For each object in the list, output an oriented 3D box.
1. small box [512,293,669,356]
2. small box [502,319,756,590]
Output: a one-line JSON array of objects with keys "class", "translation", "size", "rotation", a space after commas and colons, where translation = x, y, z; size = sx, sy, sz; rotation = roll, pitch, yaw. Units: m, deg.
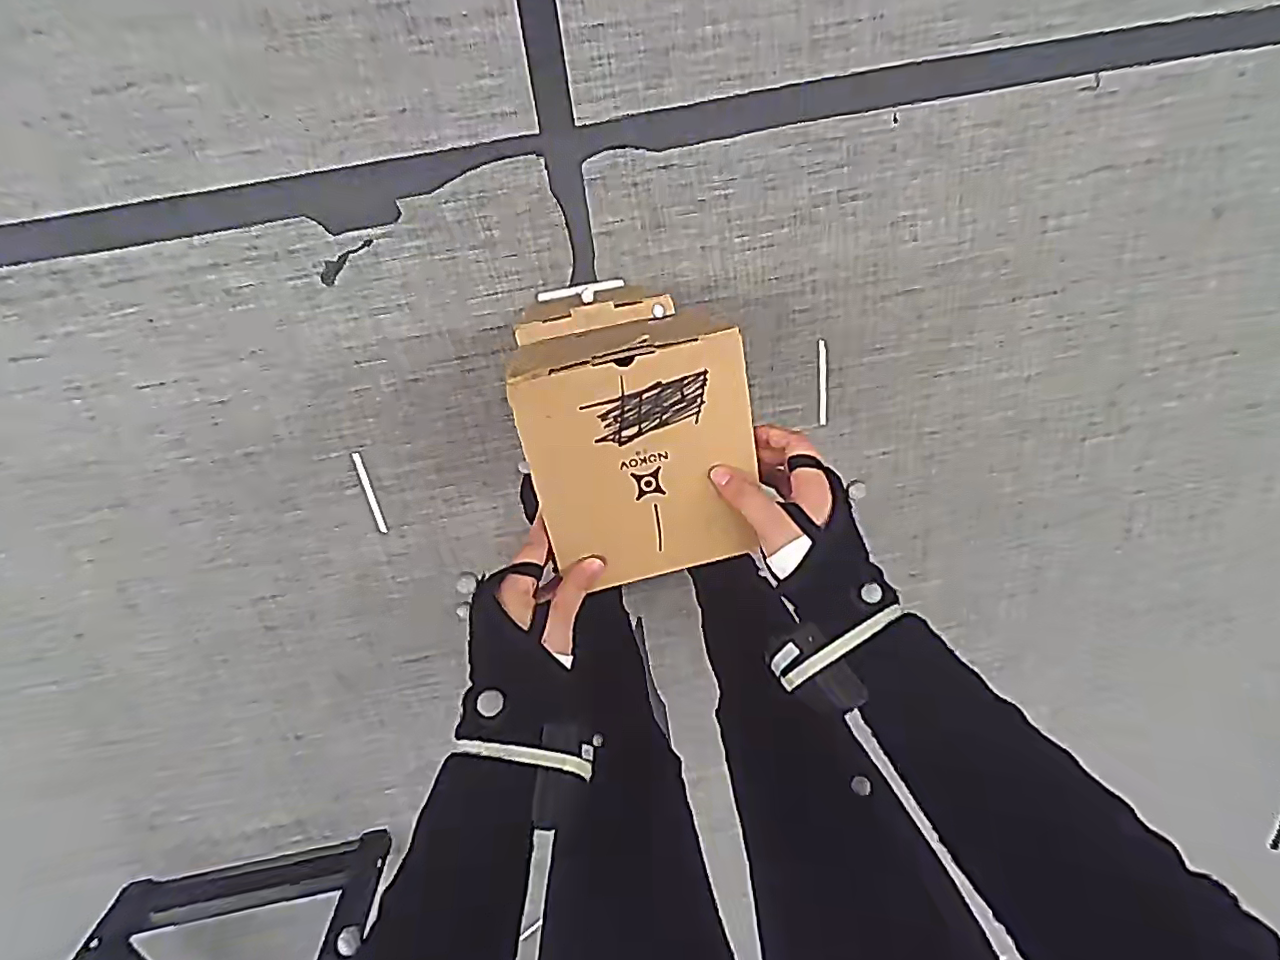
[{"class": "small box", "translation": [-0.049, -0.122, 0.655], "size": [0.168, 0.176, 0.179], "rotation": [-13, 111, -3]}, {"class": "small box", "translation": [-0.013, -0.037, 0.474], "size": [0.168, 0.176, 0.179], "rotation": [-14, 113, -3]}]
